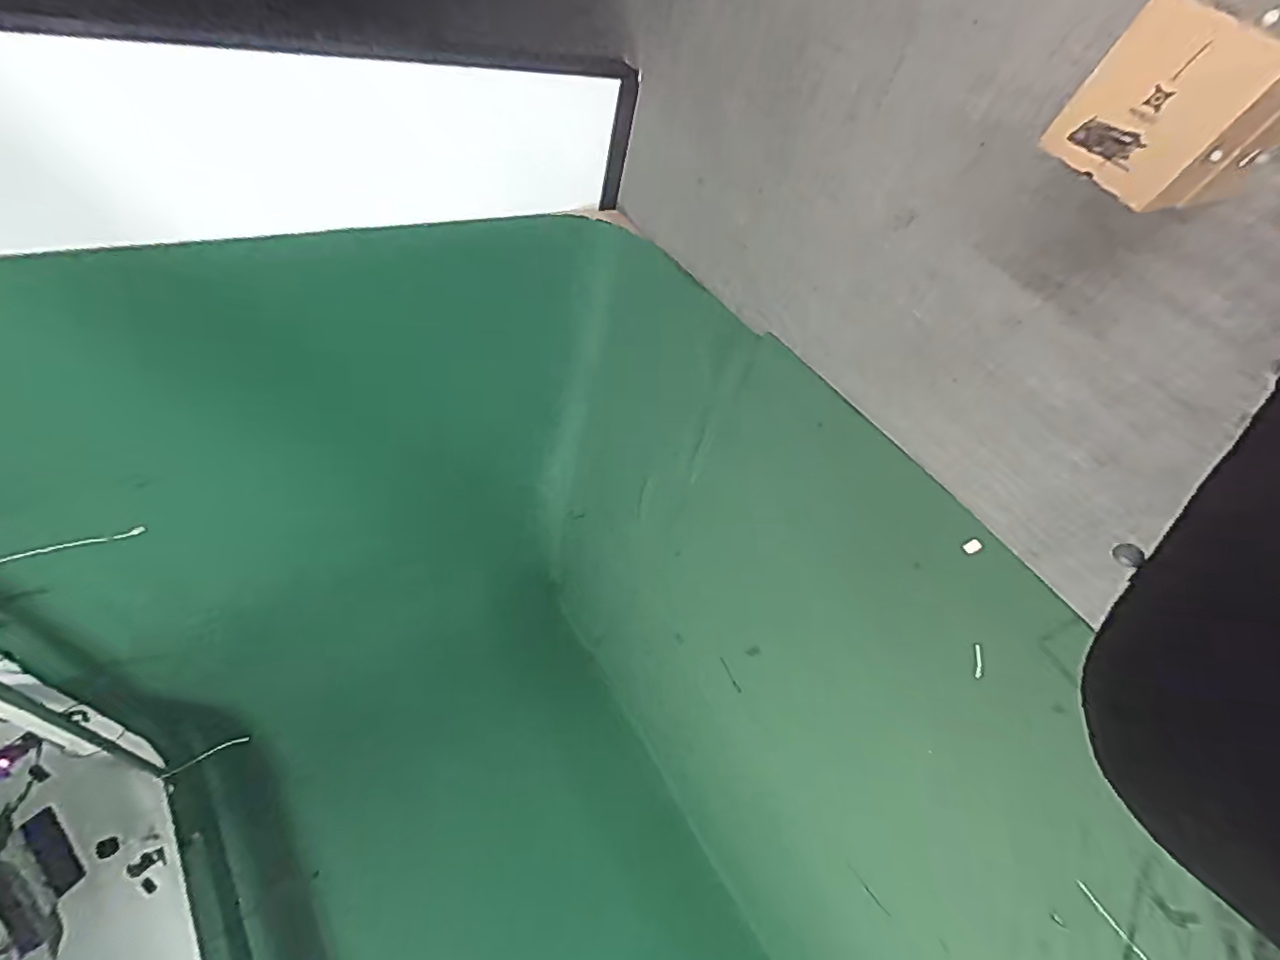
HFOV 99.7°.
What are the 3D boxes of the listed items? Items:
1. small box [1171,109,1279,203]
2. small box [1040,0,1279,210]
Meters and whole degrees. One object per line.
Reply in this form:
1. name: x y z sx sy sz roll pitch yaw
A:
1. small box: 0.810 -0.527 0.777 0.179 0.176 0.168 53 148 22
2. small box: 0.680 -0.478 0.689 0.168 0.176 0.179 54 147 21
